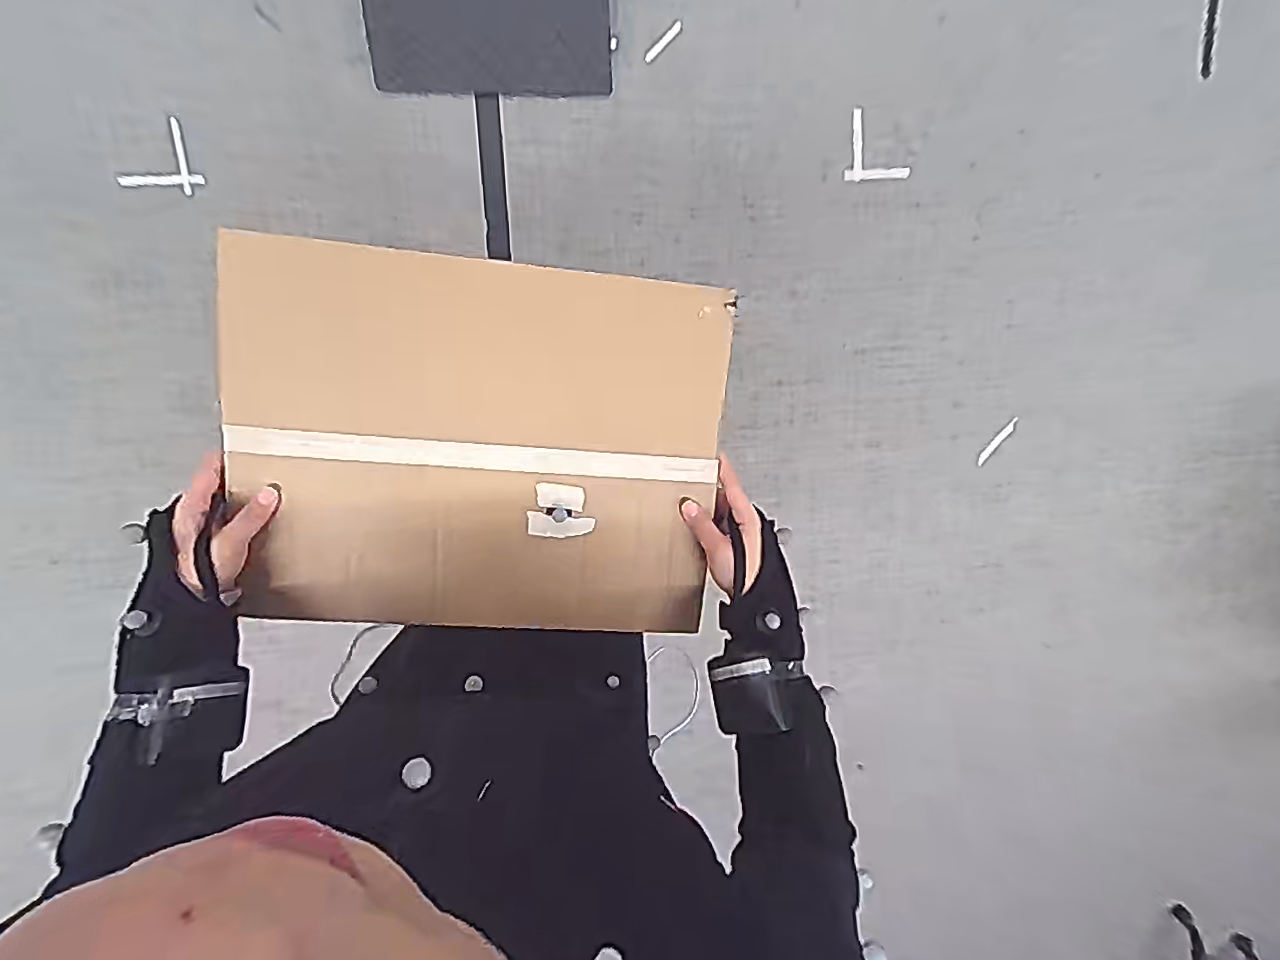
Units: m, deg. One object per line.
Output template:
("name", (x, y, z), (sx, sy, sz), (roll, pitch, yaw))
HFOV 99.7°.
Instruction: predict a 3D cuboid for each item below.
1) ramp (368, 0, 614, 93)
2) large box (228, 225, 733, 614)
("ramp", (-0.302, -1.297, 0.973), (0.509, 0.206, 0.991), (-6, 102, -10))
("large box", (-0.148, -0.059, 0.604), (0.408, 0.320, 0.320), (4, 101, -8))
